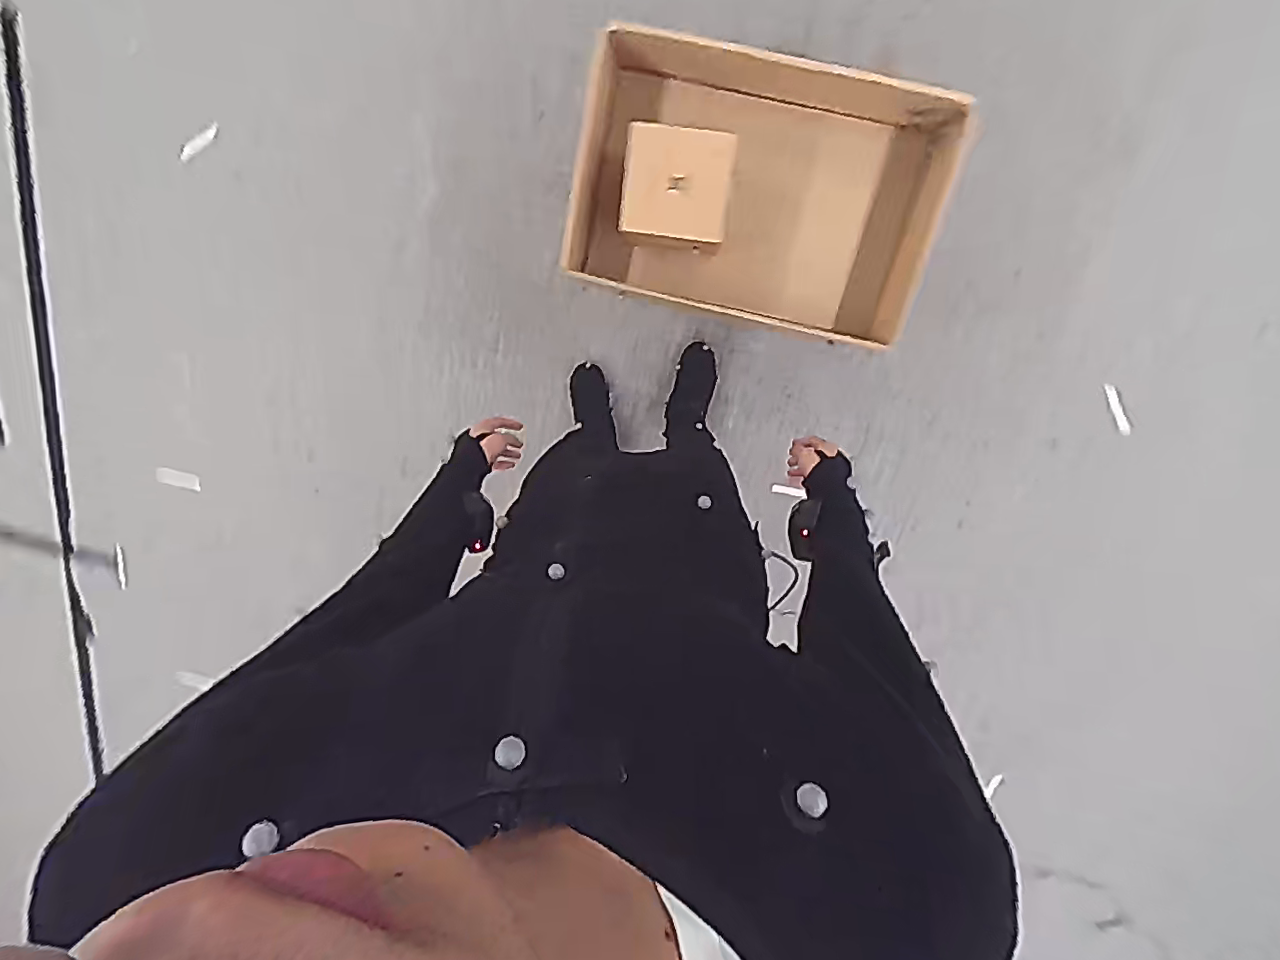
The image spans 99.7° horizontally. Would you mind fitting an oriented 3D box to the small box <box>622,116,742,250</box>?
[{"bbox_3d":[0.073,-0.515,0.961,0.179,0.176,0.168,10,107,3],"label":"small box"}]
